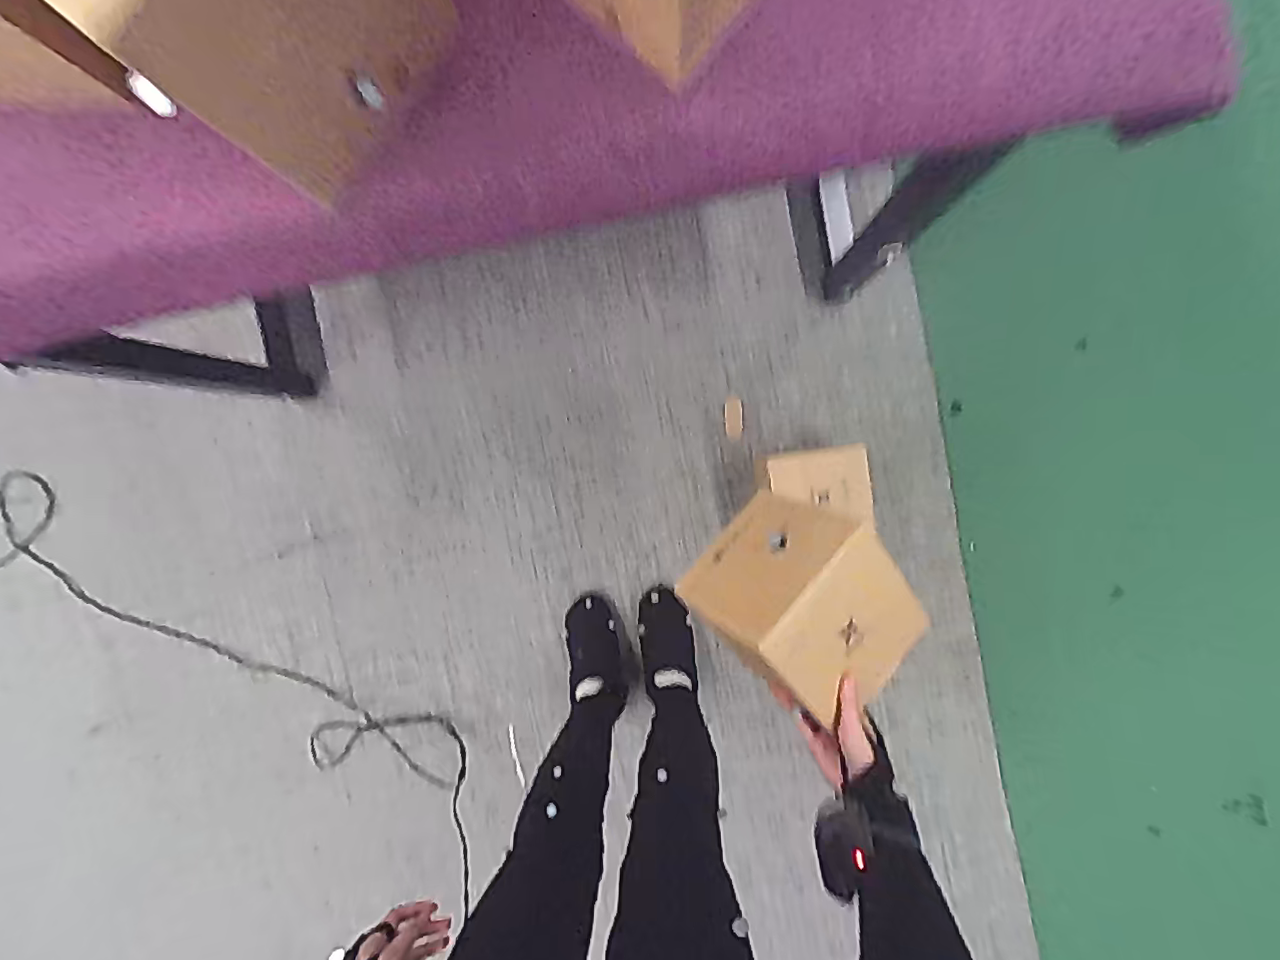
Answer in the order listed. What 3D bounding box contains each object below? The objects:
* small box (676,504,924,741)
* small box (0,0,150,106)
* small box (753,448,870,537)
[{"bbox_3d":[0.172,0.144,0.612,0.168,0.176,0.179,-46,116,-11],"label":"small box"},{"bbox_3d":[-0.461,-0.366,0.333,0.179,0.176,0.168,3,93,3],"label":"small box"},{"bbox_3d":[0.317,0.032,1.034,0.179,0.176,0.168,-7,93,3],"label":"small box"}]
